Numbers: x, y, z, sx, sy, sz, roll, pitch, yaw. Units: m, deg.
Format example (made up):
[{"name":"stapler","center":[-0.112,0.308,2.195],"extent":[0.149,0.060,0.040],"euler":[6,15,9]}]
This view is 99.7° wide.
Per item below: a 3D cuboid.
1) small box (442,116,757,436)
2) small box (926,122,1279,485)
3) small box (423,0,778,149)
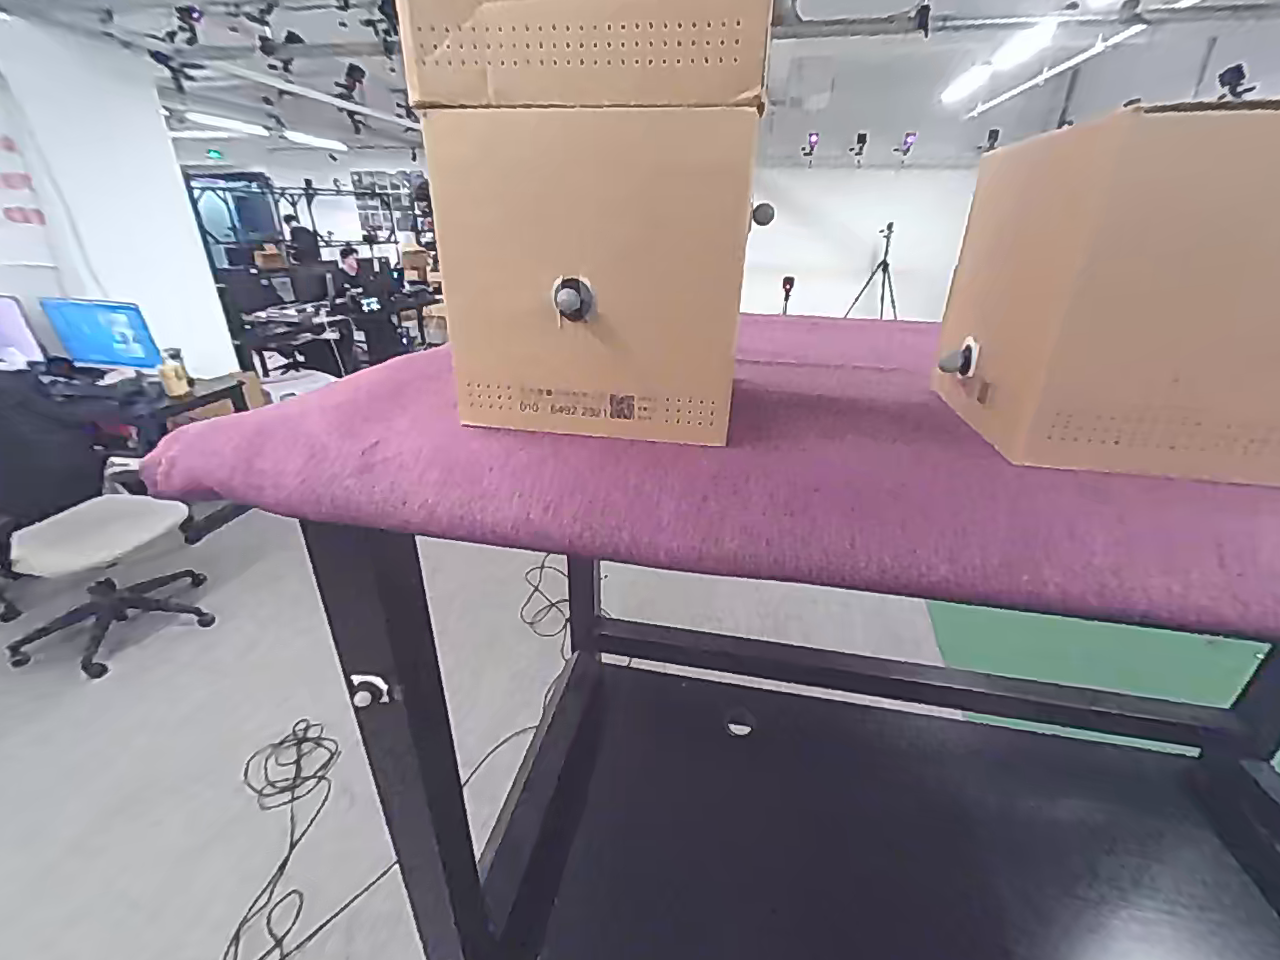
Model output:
[{"name":"small box","center":[-0.011,-0.138,0.376],"extent":[0.168,0.176,0.179],"euler":[7,25,8]},{"name":"small box","center":[0.306,-0.106,0.332],"extent":[0.179,0.176,0.168],"euler":[5,24,9]},{"name":"small box","center":[-0.012,-0.285,0.306],"extent":[0.179,0.176,0.168],"euler":[5,26,6]}]
